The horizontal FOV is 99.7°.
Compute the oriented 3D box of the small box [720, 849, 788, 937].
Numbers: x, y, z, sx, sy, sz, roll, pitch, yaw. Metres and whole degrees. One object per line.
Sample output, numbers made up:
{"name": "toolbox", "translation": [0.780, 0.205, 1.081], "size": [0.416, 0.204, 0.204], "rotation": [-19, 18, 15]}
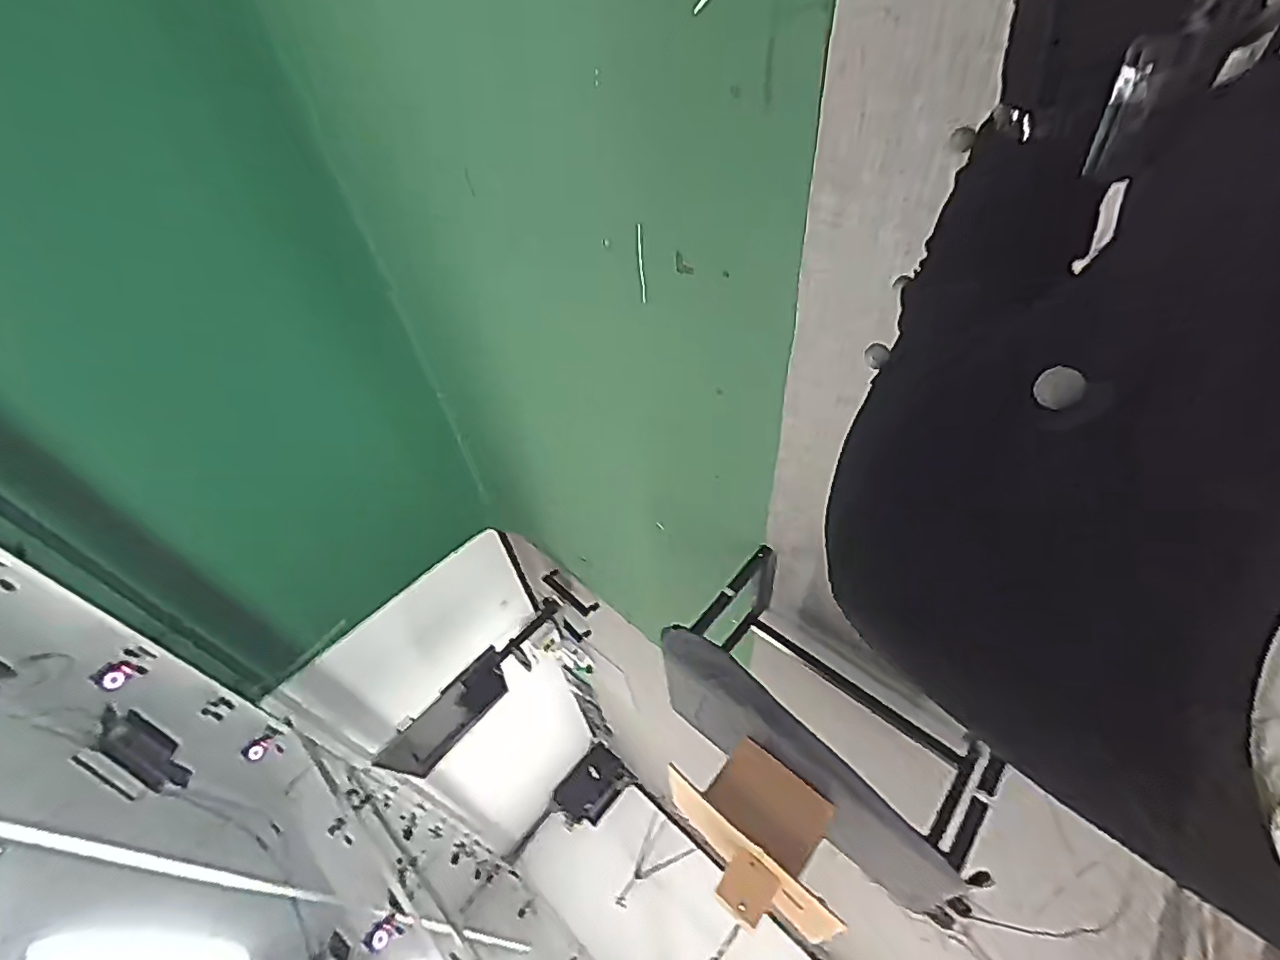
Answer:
{"name": "small box", "translation": [0.389, 1.412, 1.850], "size": [0.168, 0.176, 0.179], "rotation": [30, 146, 31]}
